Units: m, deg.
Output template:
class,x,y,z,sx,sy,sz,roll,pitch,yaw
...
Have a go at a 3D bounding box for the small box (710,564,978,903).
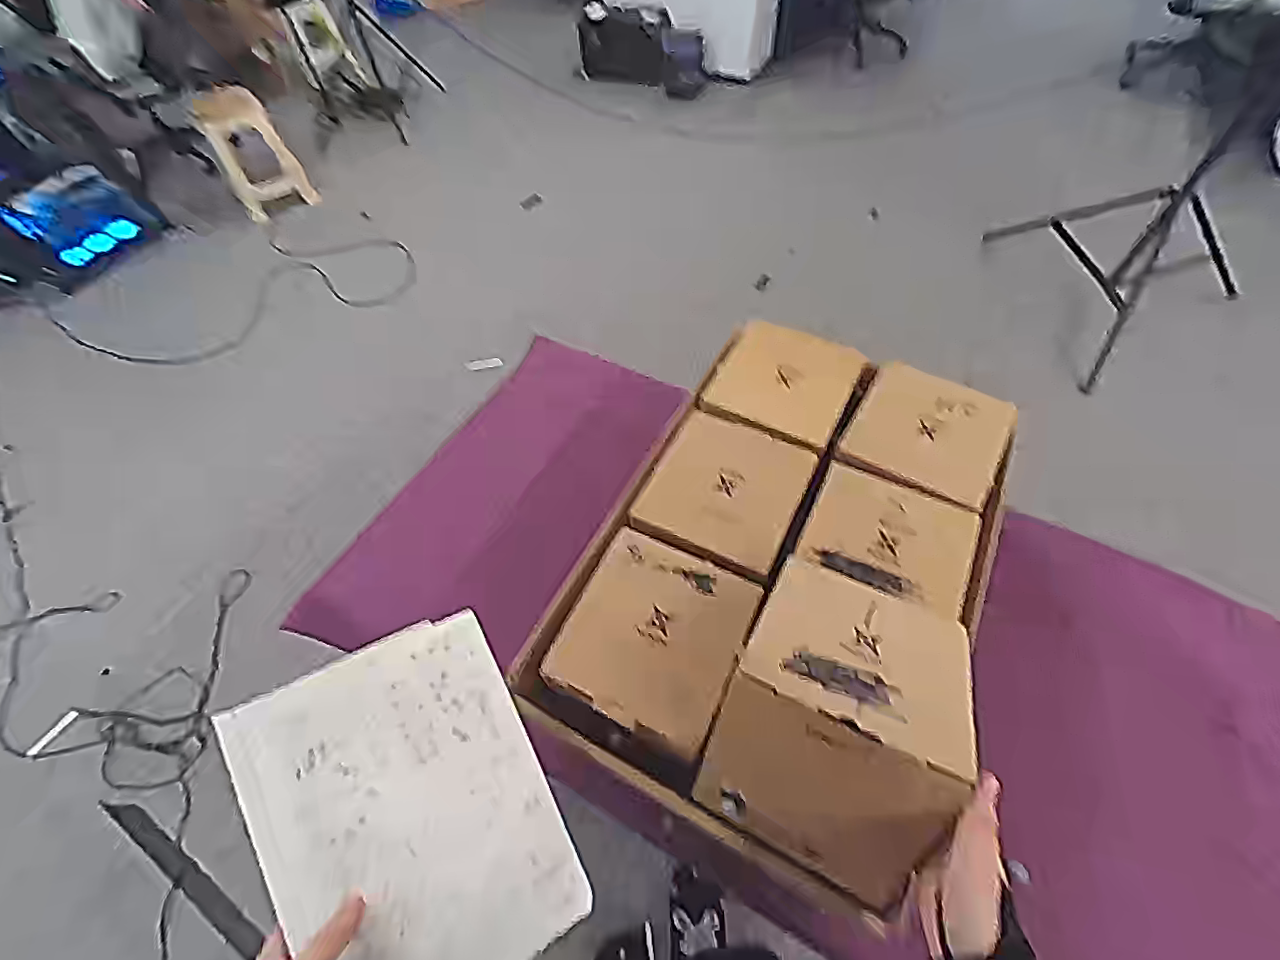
class,x,y,z,sx,sy,sz,roll,pitch,yaw
small box,0.172,0.211,0.475,0.168,0.176,0.179,21,32,20
